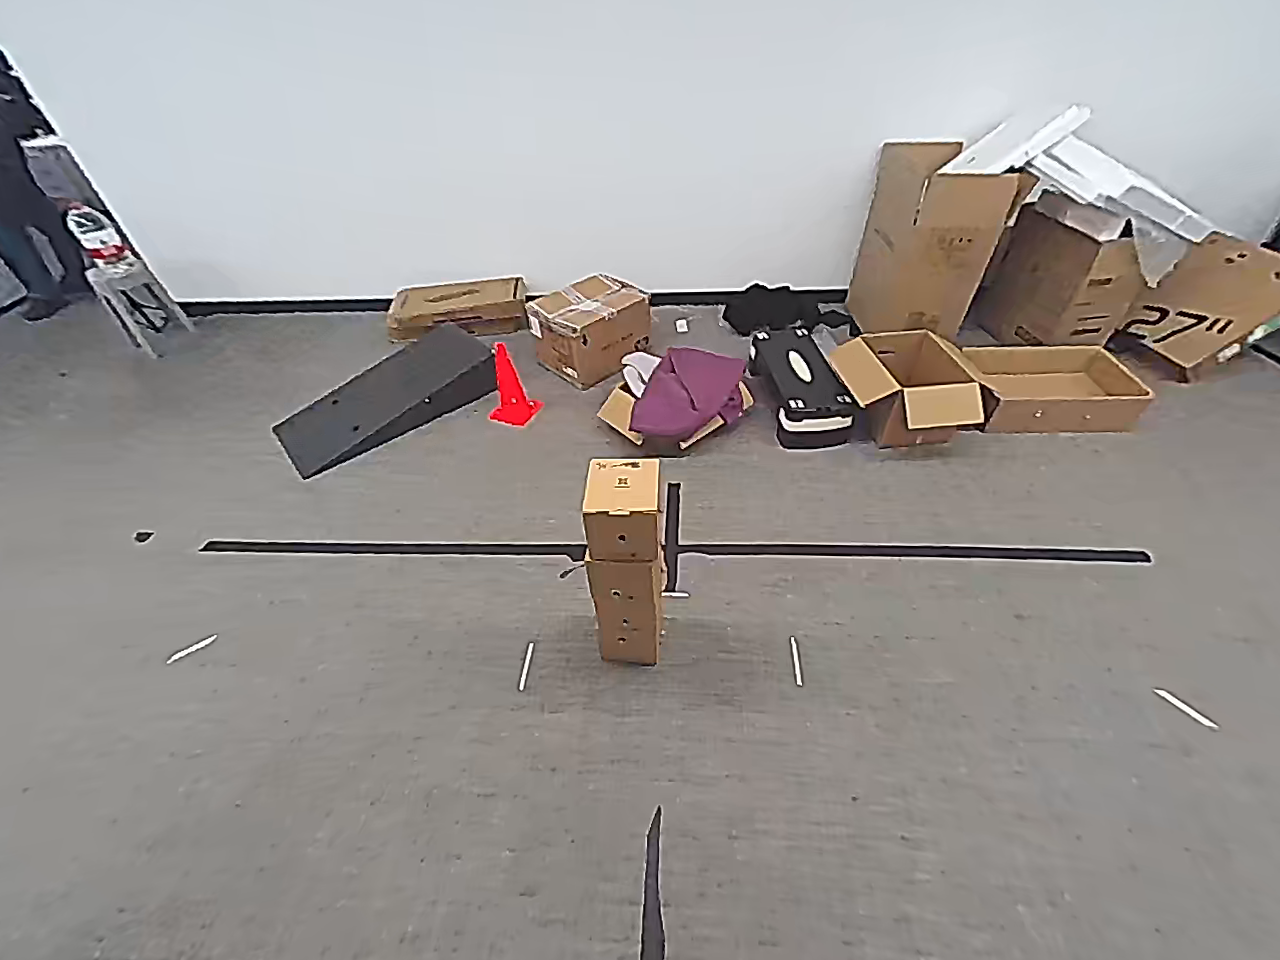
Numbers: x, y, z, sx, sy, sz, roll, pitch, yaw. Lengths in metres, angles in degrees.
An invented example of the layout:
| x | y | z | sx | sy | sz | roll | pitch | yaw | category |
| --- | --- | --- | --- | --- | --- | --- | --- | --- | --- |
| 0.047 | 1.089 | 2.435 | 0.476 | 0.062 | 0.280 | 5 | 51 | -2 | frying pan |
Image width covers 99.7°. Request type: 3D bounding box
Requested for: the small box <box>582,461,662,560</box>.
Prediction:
| x | y | z | sx | sy | sz | roll | pitch | yaw | category |
| --- | --- | --- | --- | --- | --- | --- | --- | --- | --- |
| -0.035 | 0.074 | 1.274 | 0.168 | 0.176 | 0.179 | 0 | 44 | 4 | small box |

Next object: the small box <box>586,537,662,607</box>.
| x | y | z | sx | sy | sz | roll | pitch | yaw | category |
| --- | --- | --- | --- | --- | --- | --- | --- | --- | --- |
| -0.034 | 0.198 | 1.381 | 0.168 | 0.176 | 0.179 | 2 | 45 | 7 | small box |

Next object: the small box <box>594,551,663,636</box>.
| x | y | z | sx | sy | sz | roll | pitch | yaw | category |
| --- | --- | --- | --- | --- | --- | --- | --- | --- | --- |
| -0.026 | 0.306 | 1.503 | 0.168 | 0.176 | 0.179 | 3 | 44 | 7 | small box |

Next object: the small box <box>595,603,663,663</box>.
| x | y | z | sx | sy | sz | roll | pitch | yaw | category |
| --- | --- | --- | --- | --- | --- | --- | --- | --- | --- |
| -0.027 | 0.429 | 1.613 | 0.179 | 0.176 | 0.168 | 3 | 44 | 6 | small box |
